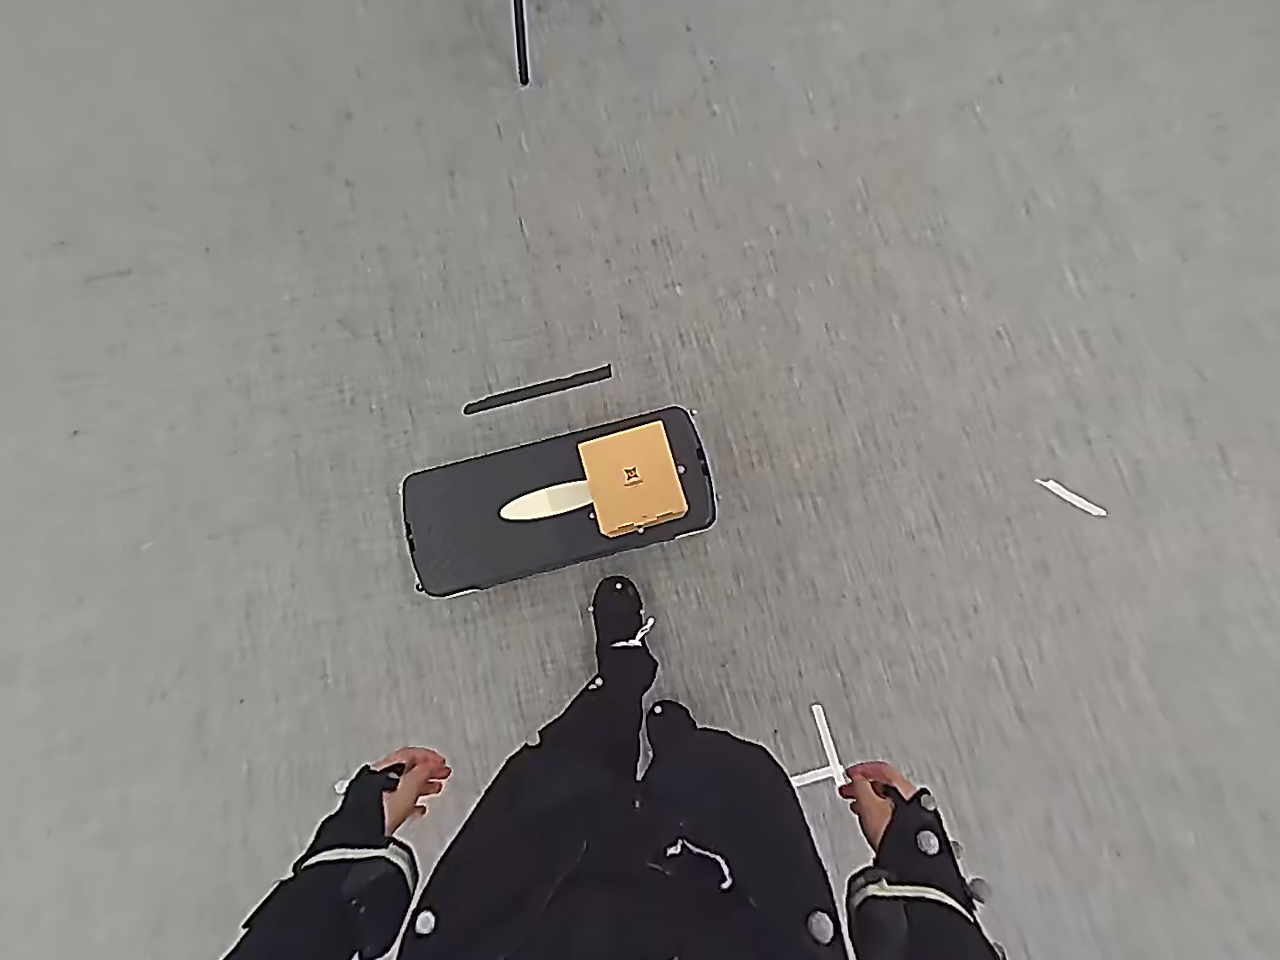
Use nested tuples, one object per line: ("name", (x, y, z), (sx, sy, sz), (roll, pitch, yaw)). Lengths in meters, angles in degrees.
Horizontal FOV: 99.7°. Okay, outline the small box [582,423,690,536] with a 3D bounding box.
("small box", (-0.009, 0.007, 1.074), (0.168, 0.176, 0.179), (-16, 83, -1))
